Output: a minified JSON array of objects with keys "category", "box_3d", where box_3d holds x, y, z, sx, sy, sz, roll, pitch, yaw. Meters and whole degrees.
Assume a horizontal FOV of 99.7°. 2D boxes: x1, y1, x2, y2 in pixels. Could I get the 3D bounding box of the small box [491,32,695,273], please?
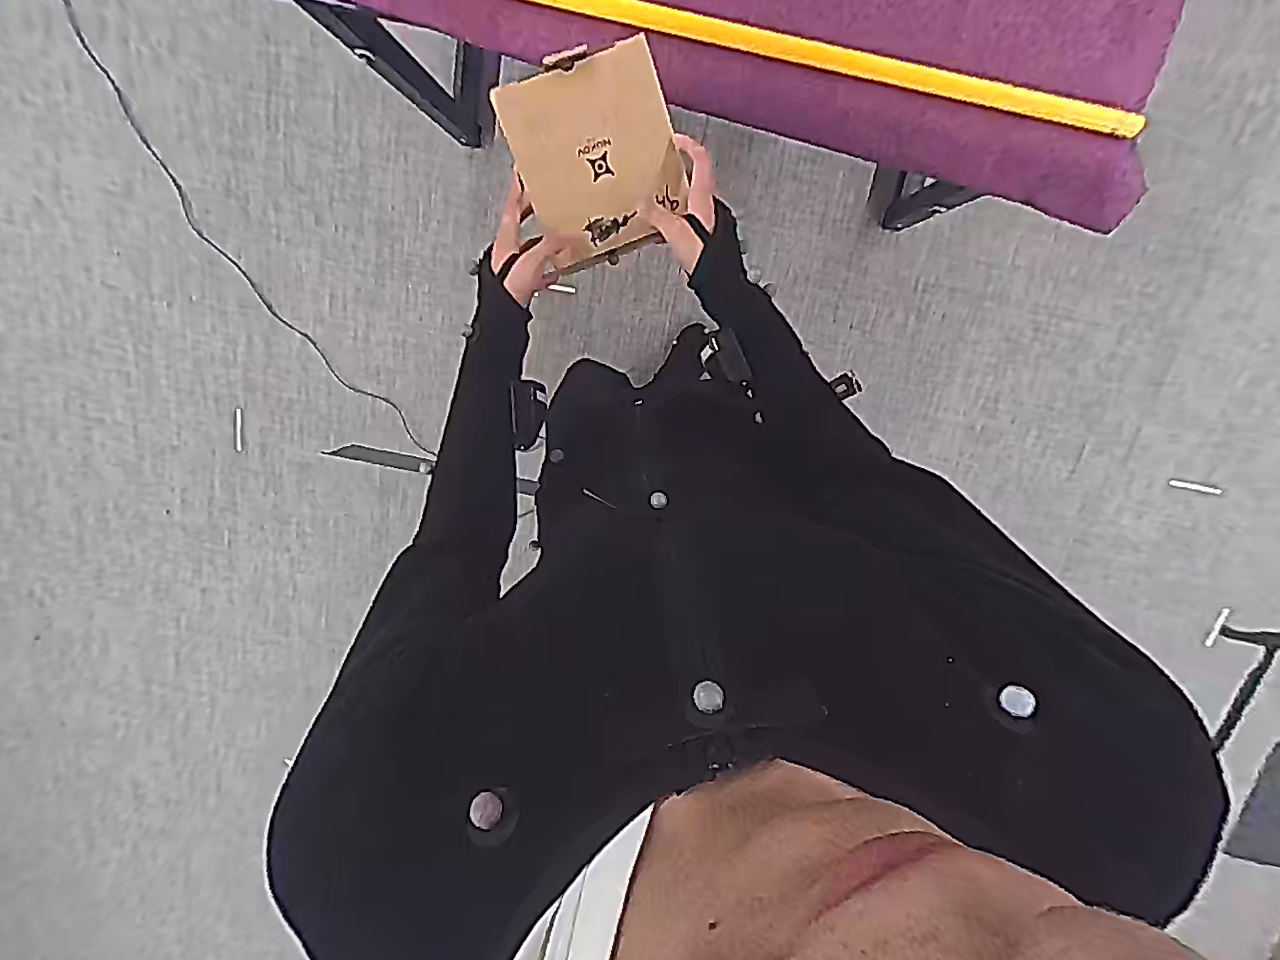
[{"category":"small box","box_3d":[-0.053,-0.353,0.621,0.168,0.176,0.179,-20,110,0]}]
